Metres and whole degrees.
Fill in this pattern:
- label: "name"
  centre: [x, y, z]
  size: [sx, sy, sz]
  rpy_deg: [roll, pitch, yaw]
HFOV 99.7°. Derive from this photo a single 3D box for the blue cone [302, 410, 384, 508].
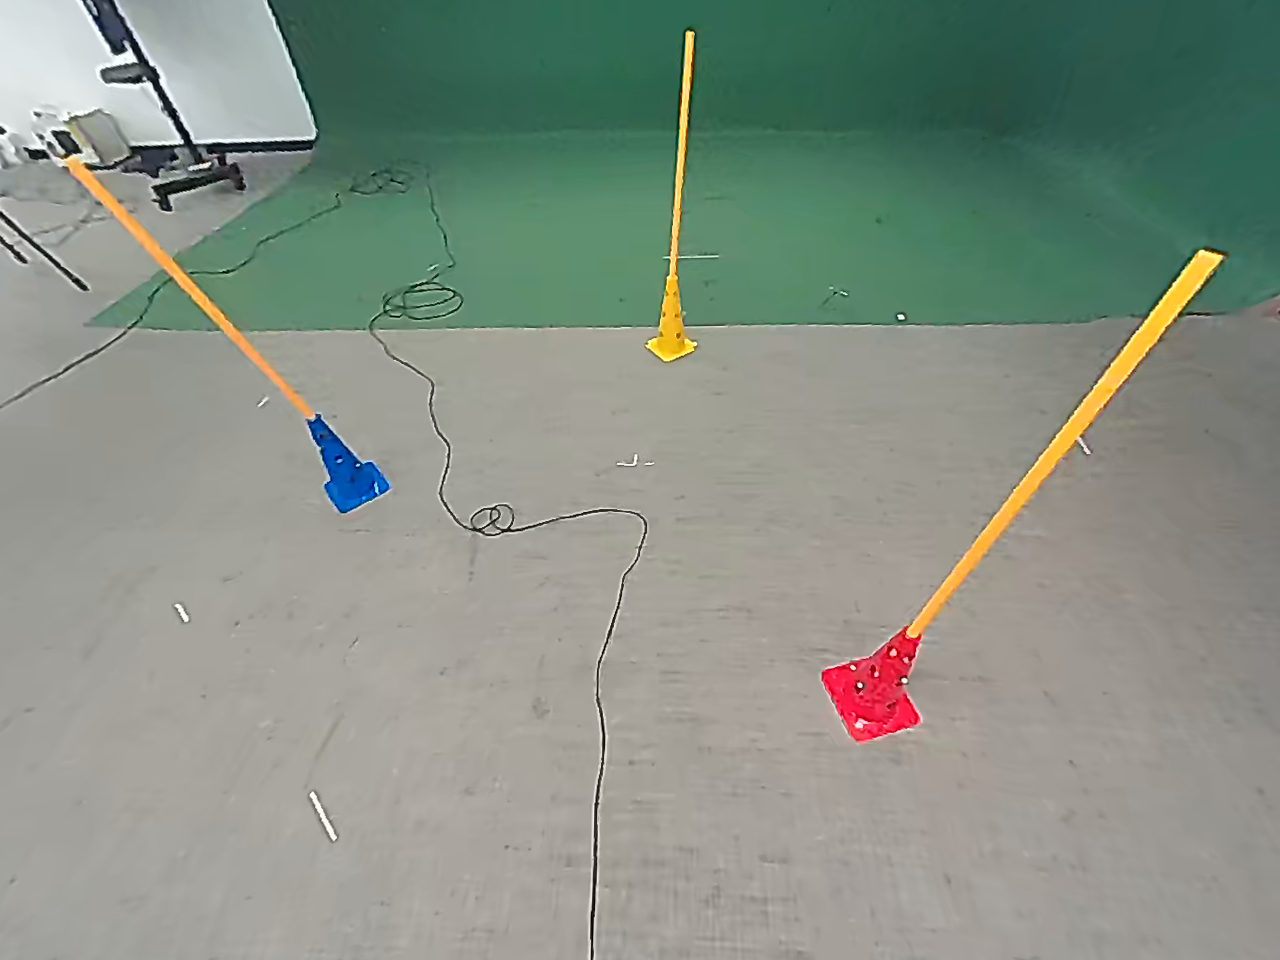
- label: "blue cone"
  centre: [-1.088, -0.091, 1.921]
  size: [0.193, 0.380, 0.192]
  rpy_deg: [-35, 56, -25]
